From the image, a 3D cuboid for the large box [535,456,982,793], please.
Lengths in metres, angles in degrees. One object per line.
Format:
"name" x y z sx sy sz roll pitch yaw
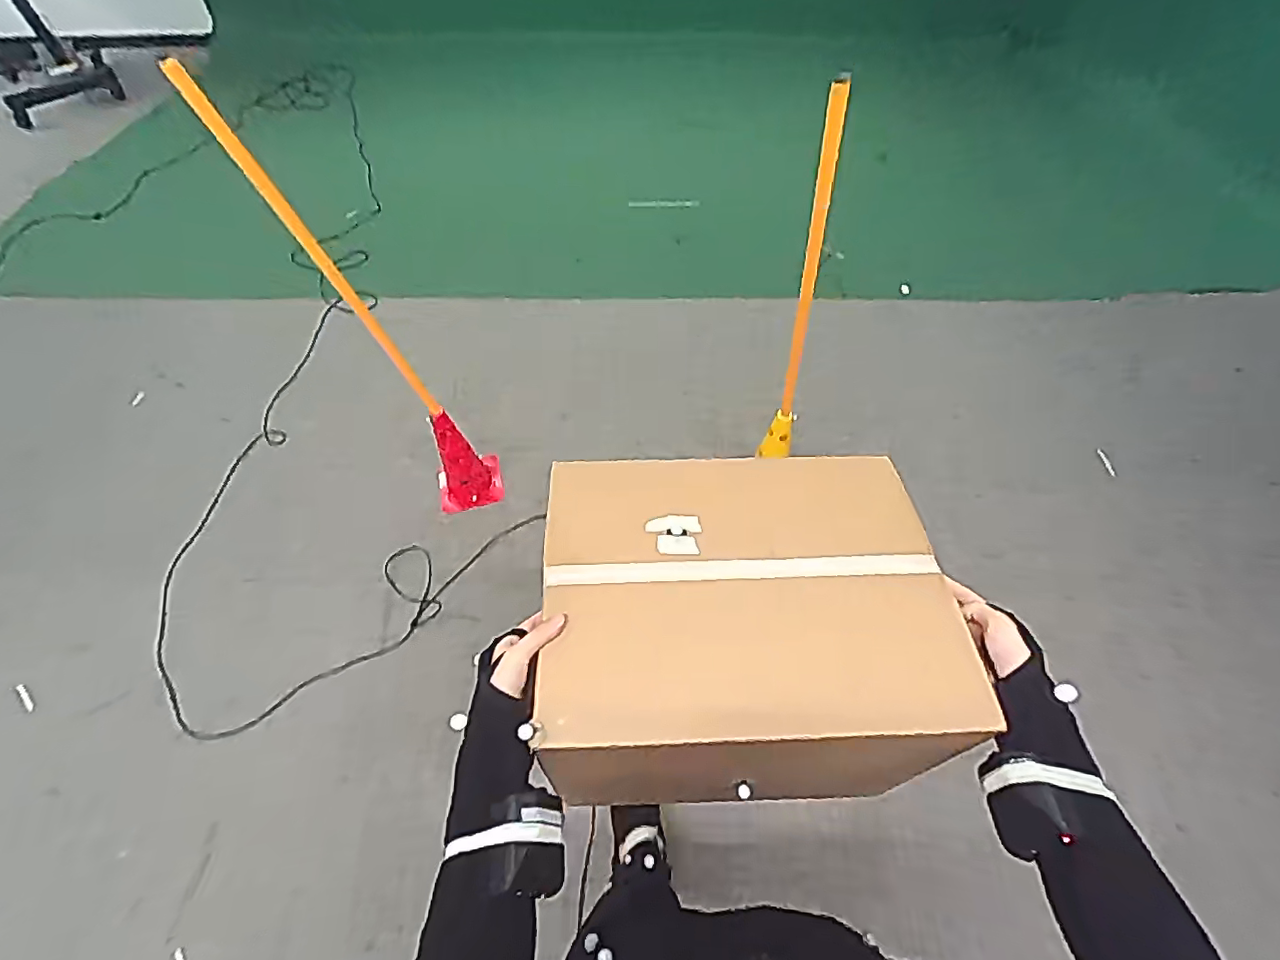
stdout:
"large box" 0.102 0.189 0.679 0.408 0.320 0.320 -2 51 -1
